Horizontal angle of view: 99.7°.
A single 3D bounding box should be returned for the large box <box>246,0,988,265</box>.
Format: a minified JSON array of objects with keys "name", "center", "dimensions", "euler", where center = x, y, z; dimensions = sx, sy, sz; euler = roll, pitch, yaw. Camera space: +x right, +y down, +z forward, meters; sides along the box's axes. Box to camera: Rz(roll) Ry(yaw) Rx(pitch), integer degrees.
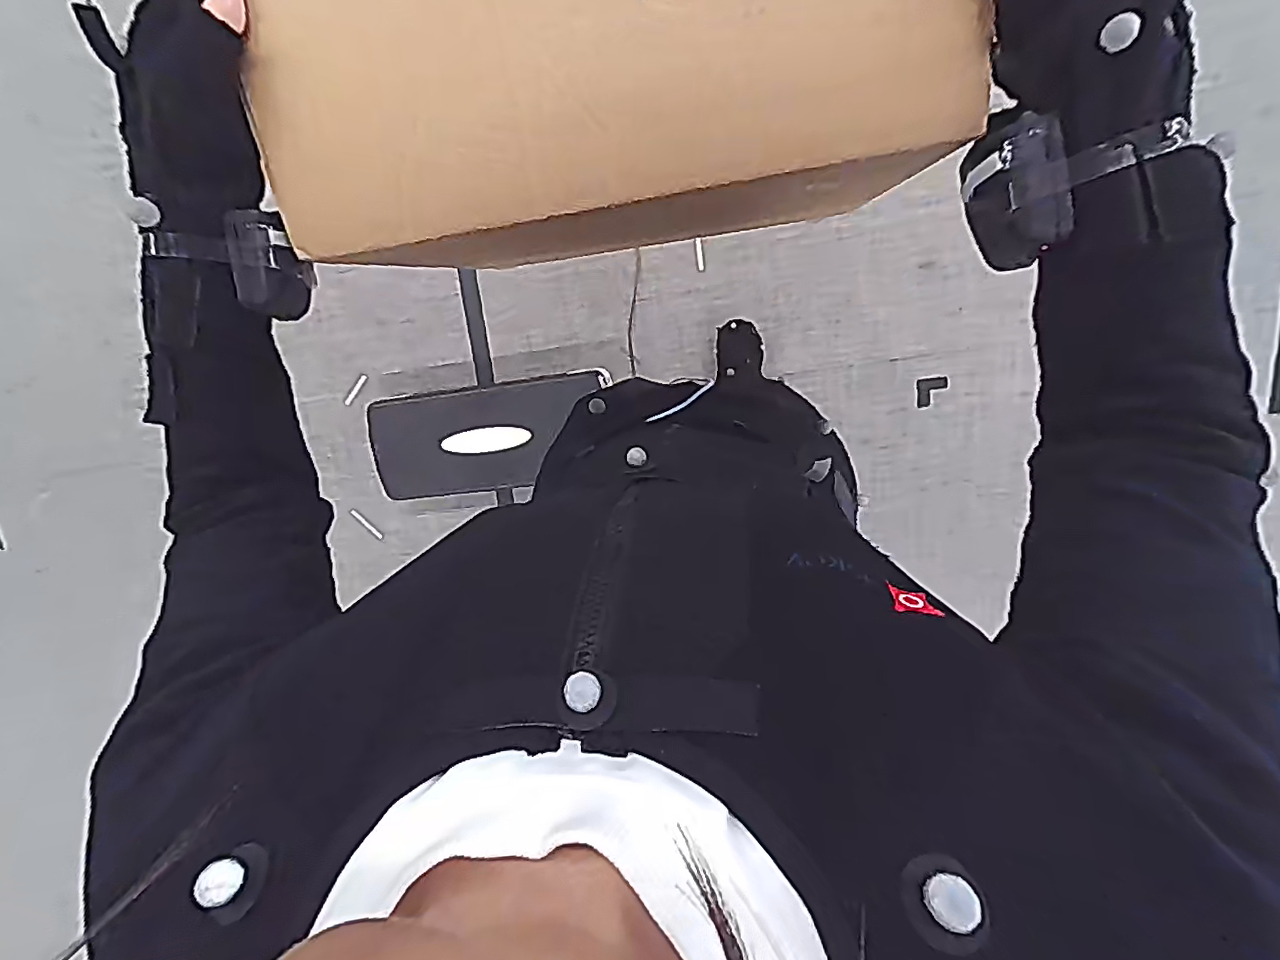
[{"name":"large box","center":[-0.017,-0.364,0.412],"dimensions":[0.408,0.320,0.320],"euler":[-6,110,11]}]
